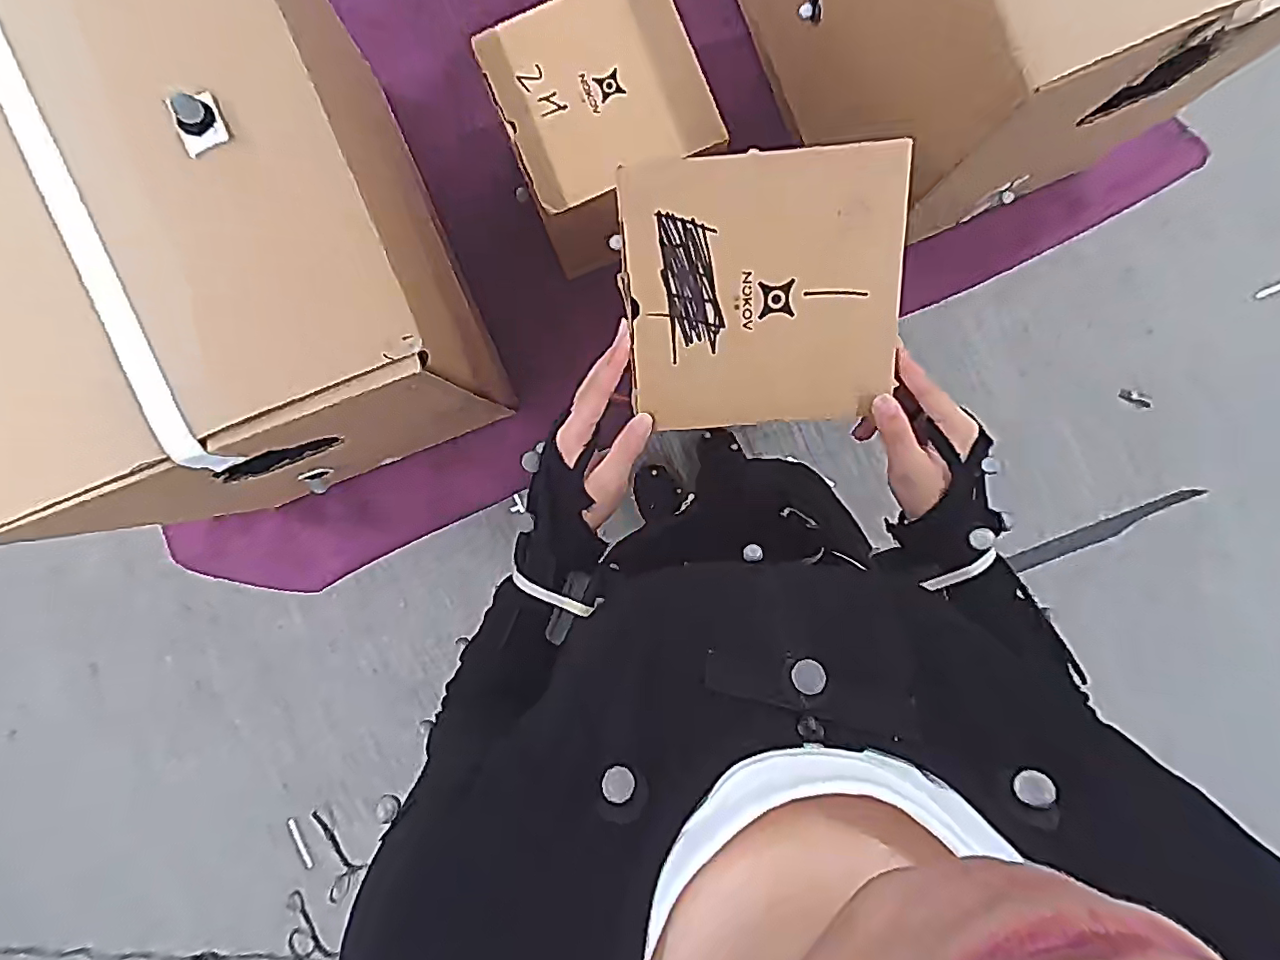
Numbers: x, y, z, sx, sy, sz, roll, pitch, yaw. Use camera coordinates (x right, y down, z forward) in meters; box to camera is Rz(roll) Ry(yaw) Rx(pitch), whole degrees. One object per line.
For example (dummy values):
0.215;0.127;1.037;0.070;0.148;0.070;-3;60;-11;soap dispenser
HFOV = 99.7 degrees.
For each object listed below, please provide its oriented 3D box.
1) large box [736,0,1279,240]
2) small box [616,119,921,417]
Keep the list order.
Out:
0.296;-0.479;0.462;0.320;0.320;0.408;-23;91;0;large box
0.079;-0.149;0.409;0.179;0.176;0.168;-4;110;1;small box
